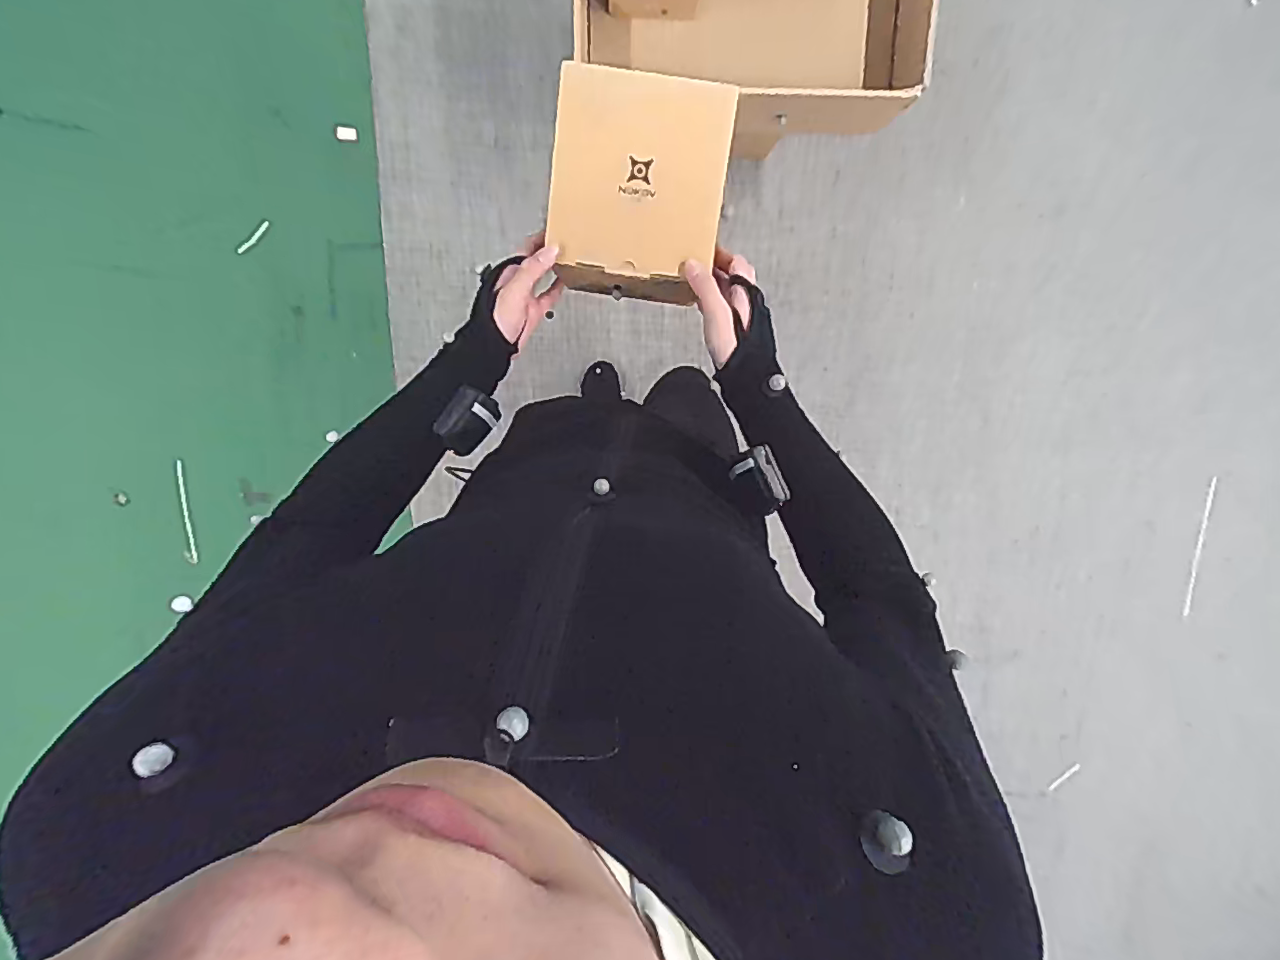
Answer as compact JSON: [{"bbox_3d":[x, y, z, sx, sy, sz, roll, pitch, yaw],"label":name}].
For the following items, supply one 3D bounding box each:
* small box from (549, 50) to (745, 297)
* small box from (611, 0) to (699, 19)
[{"bbox_3d":[0.003,-0.309,0.584,0.168,0.176,0.179,8,102,-2],"label":"small box"},{"bbox_3d":[0.030,-0.938,0.915,0.168,0.176,0.179,1,102,-2],"label":"small box"}]
